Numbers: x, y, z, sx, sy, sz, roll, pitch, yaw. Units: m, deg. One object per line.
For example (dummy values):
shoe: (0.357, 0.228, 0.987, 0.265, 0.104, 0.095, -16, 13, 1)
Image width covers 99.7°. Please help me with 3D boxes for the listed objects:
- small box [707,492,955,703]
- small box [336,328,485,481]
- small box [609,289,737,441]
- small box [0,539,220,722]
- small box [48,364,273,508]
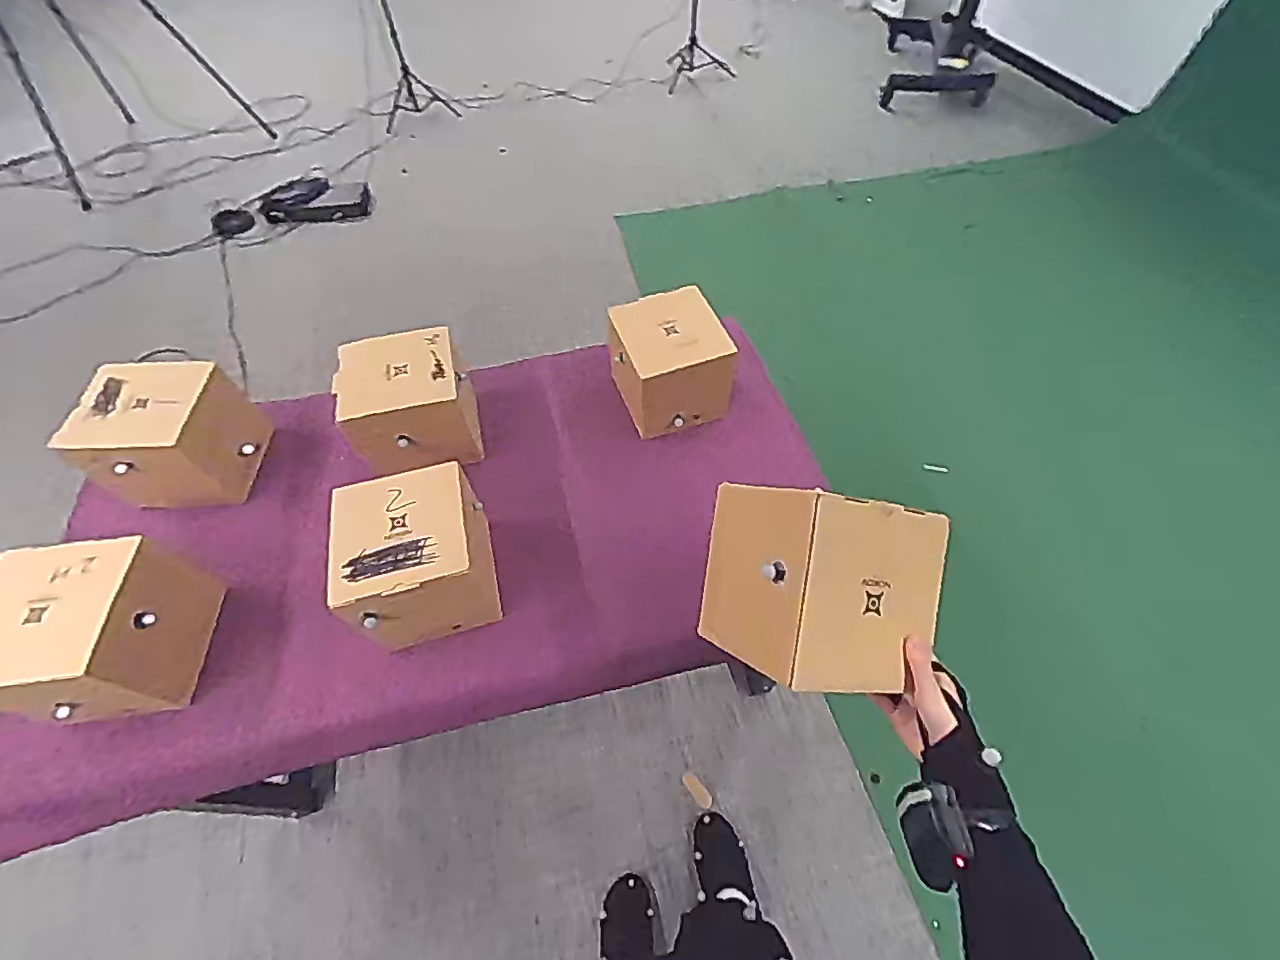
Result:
small box: (0.187, 0.112, 0.565, 0.168, 0.176, 0.179, 10, 87, -22)
small box: (-0.373, -0.119, 0.895, 0.179, 0.176, 0.168, -14, 59, -8)
small box: (0.050, -0.198, 0.945, 0.168, 0.176, 0.179, -18, 59, -9)
small box: (-0.684, 0.197, 0.683, 0.168, 0.176, 0.179, -6, 56, -4)
small box: (-0.738, -0.065, 0.859, 0.179, 0.176, 0.168, -2, 57, -2)
